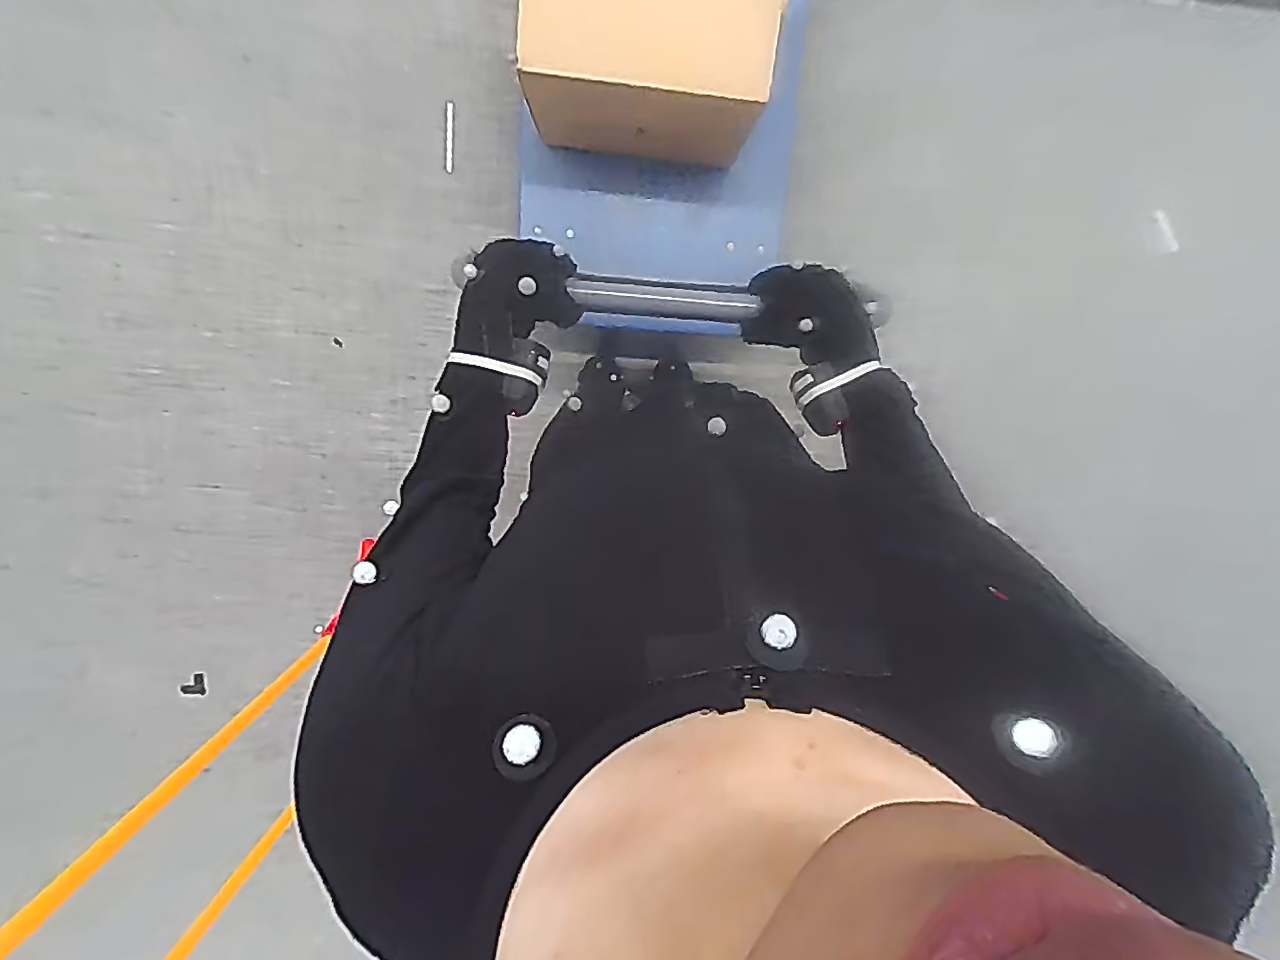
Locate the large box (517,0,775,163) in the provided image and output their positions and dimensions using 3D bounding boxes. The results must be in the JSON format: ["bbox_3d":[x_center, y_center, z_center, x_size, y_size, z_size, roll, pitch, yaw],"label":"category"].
[{"bbox_3d":[0.013,-0.802,0.974,0.408,0.320,0.320,5,102,-2],"label":"large box"}]

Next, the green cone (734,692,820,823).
[{"bbox_3d":[0.402,0.777,1.478,0.202,0.368,0.200,8,102,-4],"label":"green cone"}]
